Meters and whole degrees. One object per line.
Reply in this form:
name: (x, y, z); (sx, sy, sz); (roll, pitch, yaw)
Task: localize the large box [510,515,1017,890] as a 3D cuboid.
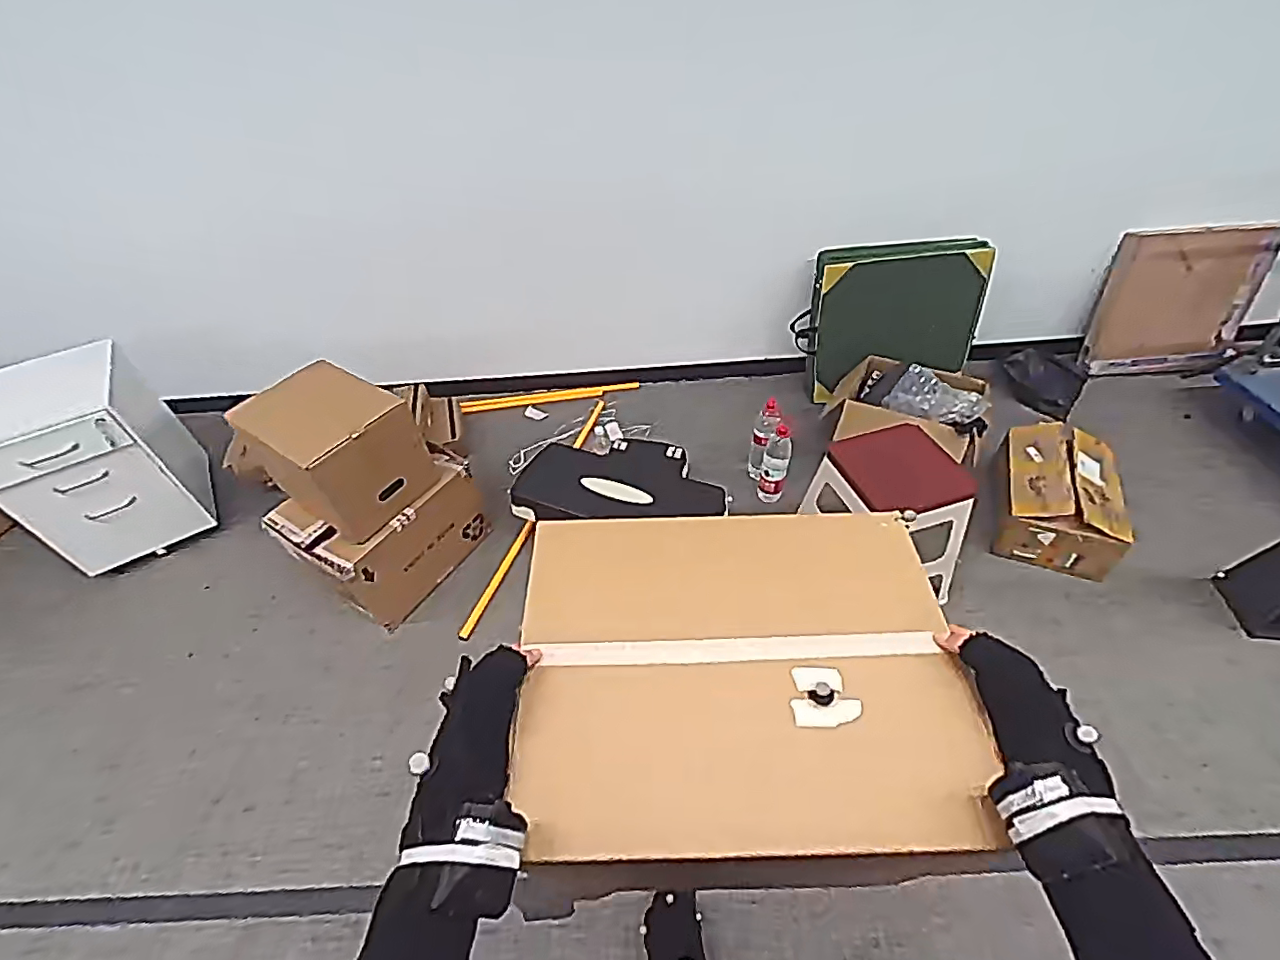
large box: (0.092, 0.259, 0.623); (0.408, 0.320, 0.320); (-1, 49, 0)
